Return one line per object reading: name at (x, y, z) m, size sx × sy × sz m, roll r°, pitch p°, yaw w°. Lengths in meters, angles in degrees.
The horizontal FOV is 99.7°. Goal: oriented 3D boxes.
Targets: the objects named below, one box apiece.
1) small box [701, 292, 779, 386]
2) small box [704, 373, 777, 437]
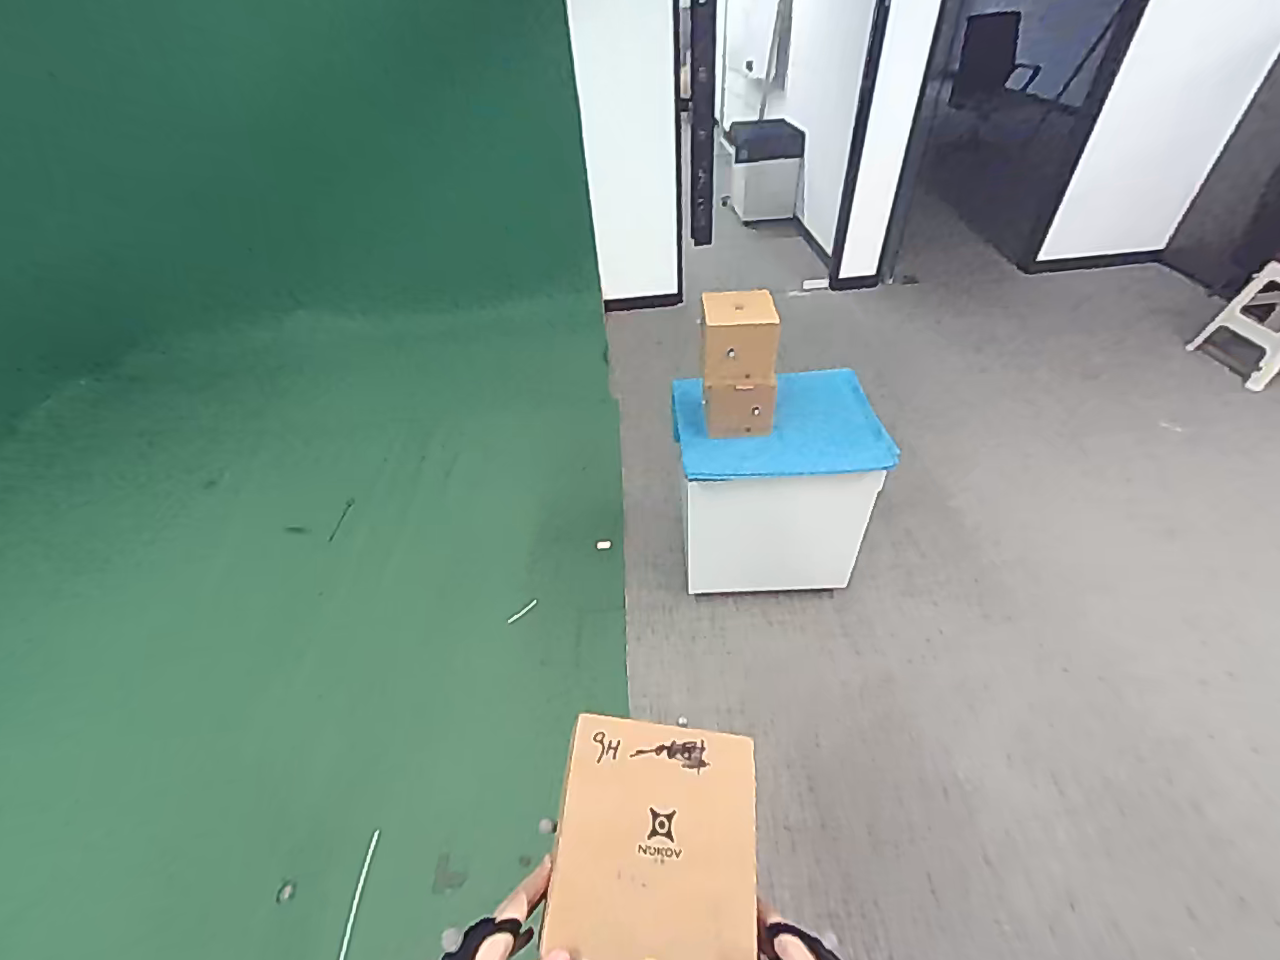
small box at (0.239, -0.342, 1.325) m, size 0.168 × 0.176 × 0.179 m, roll -1°, pitch 42°, yaw 2°
small box at (0.259, -0.224, 1.435) m, size 0.168 × 0.176 × 0.179 m, roll -2°, pitch 42°, yaw 1°
